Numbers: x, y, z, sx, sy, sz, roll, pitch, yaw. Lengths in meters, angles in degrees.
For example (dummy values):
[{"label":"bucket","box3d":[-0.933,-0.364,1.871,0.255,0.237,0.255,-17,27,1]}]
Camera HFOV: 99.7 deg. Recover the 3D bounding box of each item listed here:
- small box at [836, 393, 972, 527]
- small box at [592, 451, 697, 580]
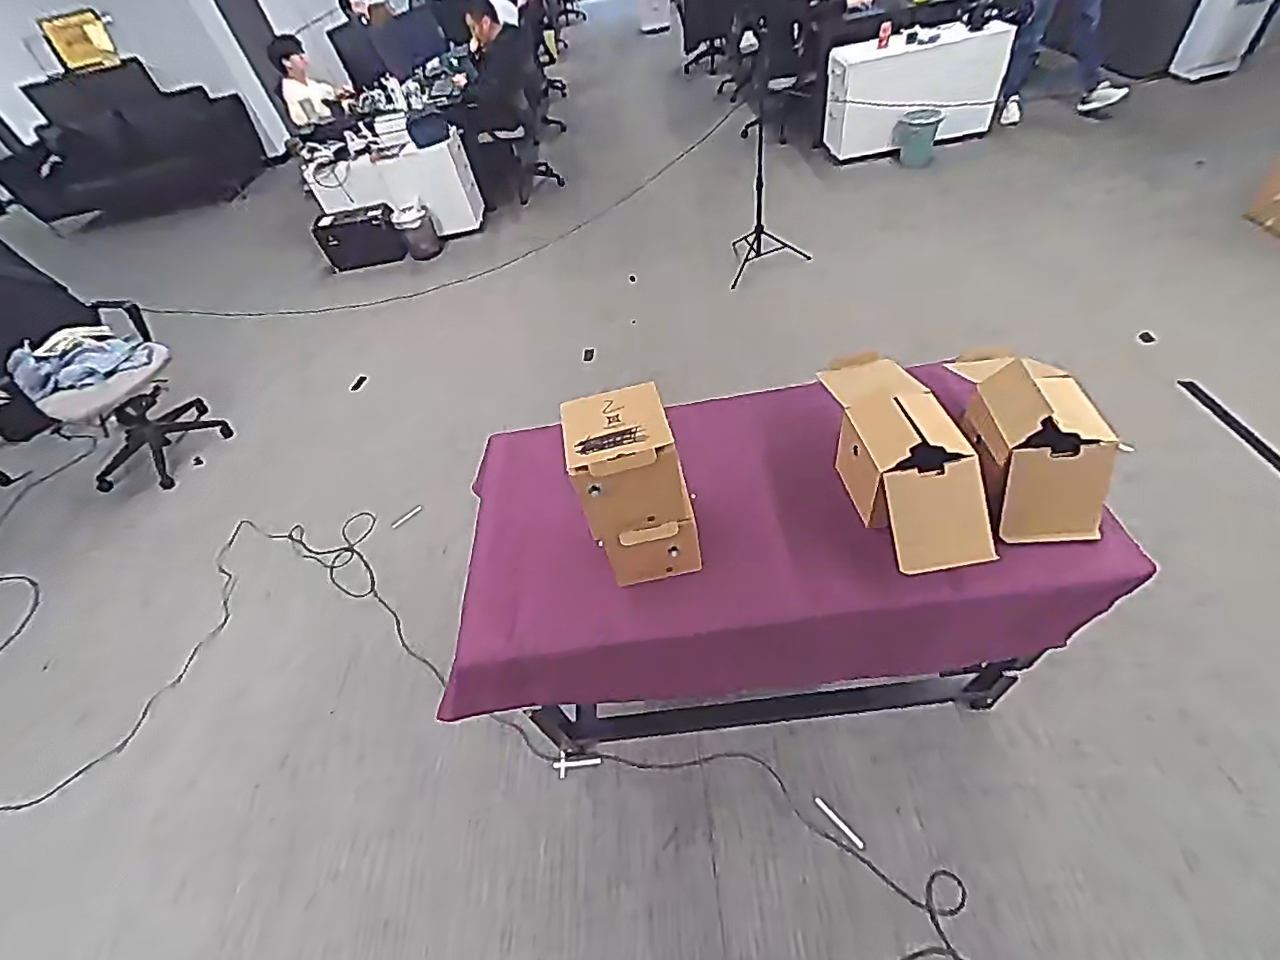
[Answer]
[{"label":"small box","box3d":[0.486,-0.037,1.030,0.168,0.176,0.179,-11,49,3]},{"label":"small box","box3d":[0.011,0.075,1.037,0.168,0.176,0.179,-11,48,1]}]
